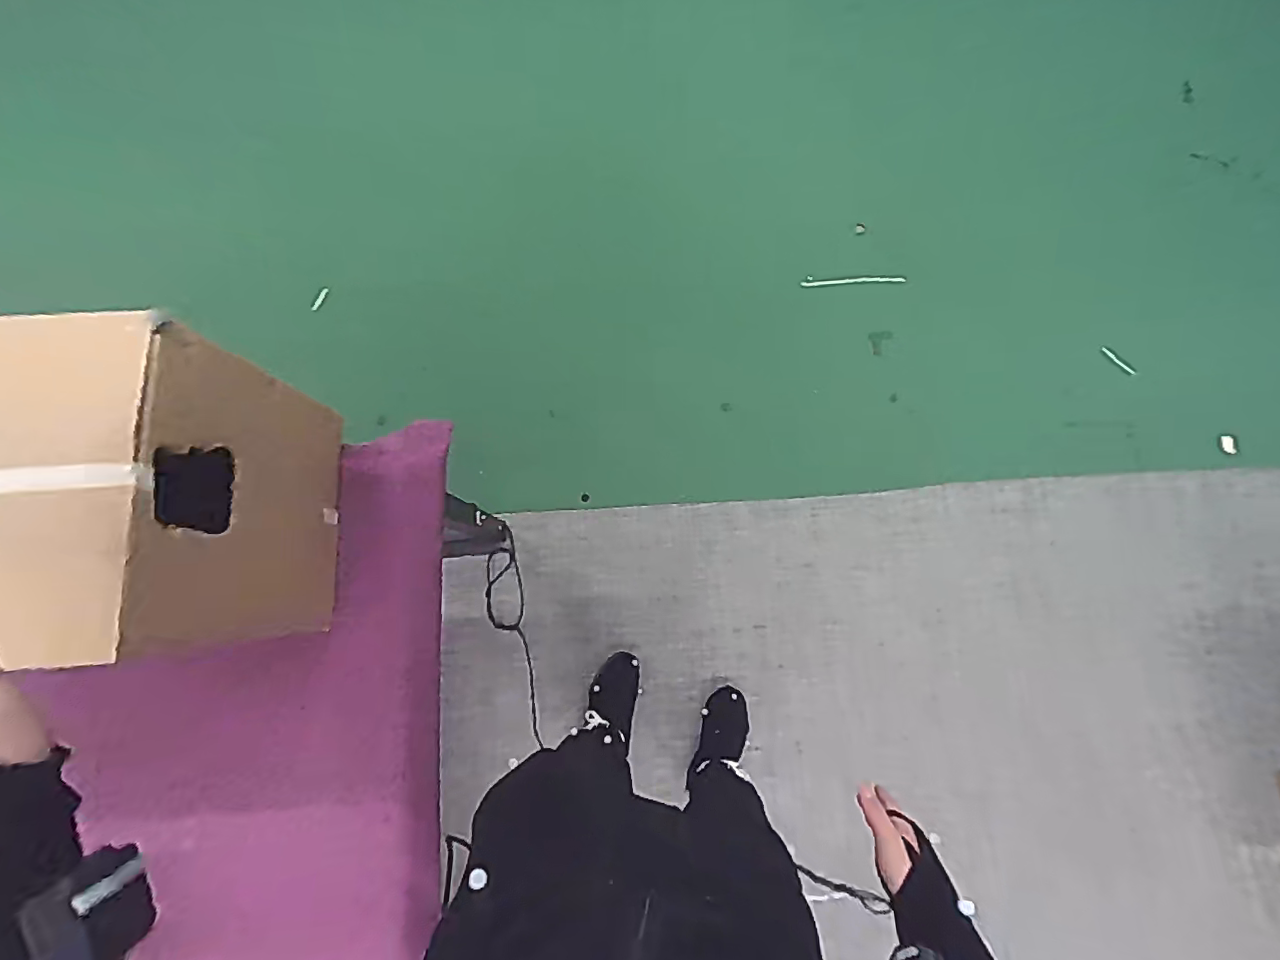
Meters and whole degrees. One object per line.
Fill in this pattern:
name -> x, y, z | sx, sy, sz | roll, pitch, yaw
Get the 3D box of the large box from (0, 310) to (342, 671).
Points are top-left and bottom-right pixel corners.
large box -> -0.617, 0.036, 0.606 | 0.408, 0.320, 0.320 | -3, 80, -2
